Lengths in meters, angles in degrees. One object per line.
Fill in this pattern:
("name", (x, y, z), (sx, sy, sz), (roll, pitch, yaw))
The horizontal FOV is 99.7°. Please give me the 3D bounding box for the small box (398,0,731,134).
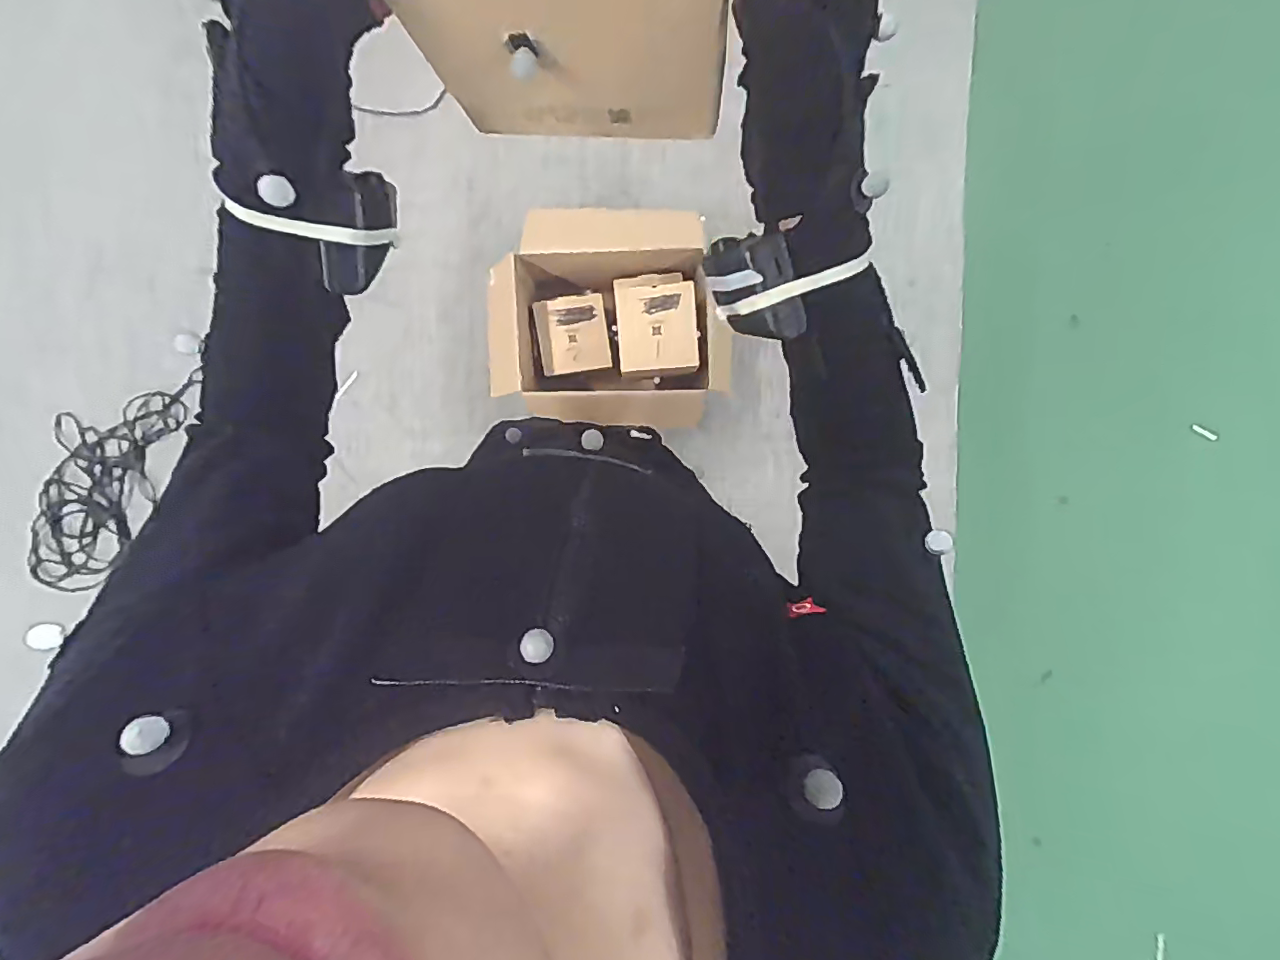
("small box", (-0.030, -0.312, 0.281), (0.168, 0.176, 0.179), (5, 96, 4))
